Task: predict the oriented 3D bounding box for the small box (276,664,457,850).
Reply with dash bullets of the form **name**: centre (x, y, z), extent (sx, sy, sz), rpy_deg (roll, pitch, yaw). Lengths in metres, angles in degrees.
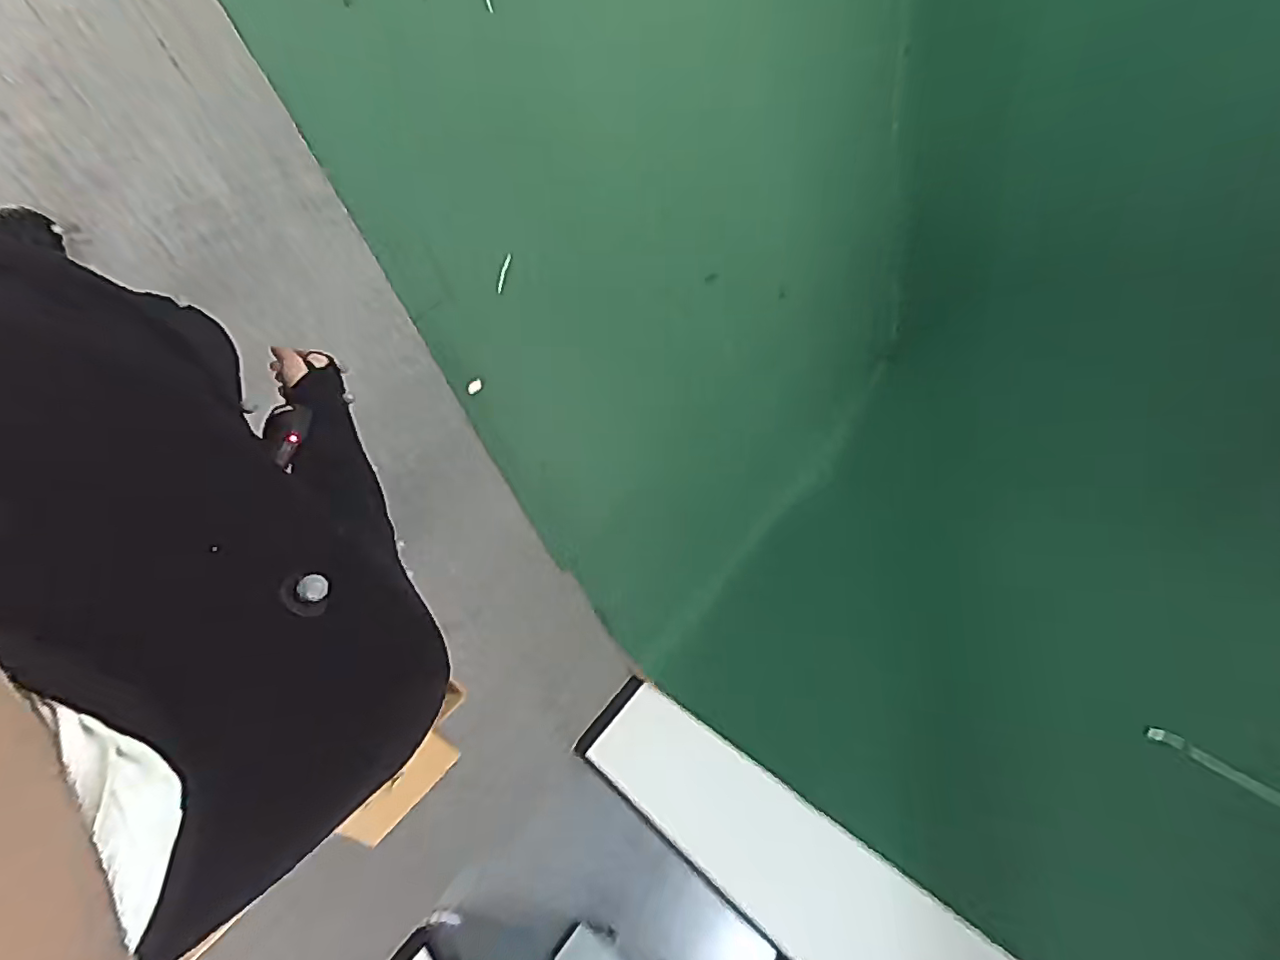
- **small box**: centre (-0.437, 0.433, 0.866), extent (0.179, 0.176, 0.168), rpy_deg (-43, 134, -24)
